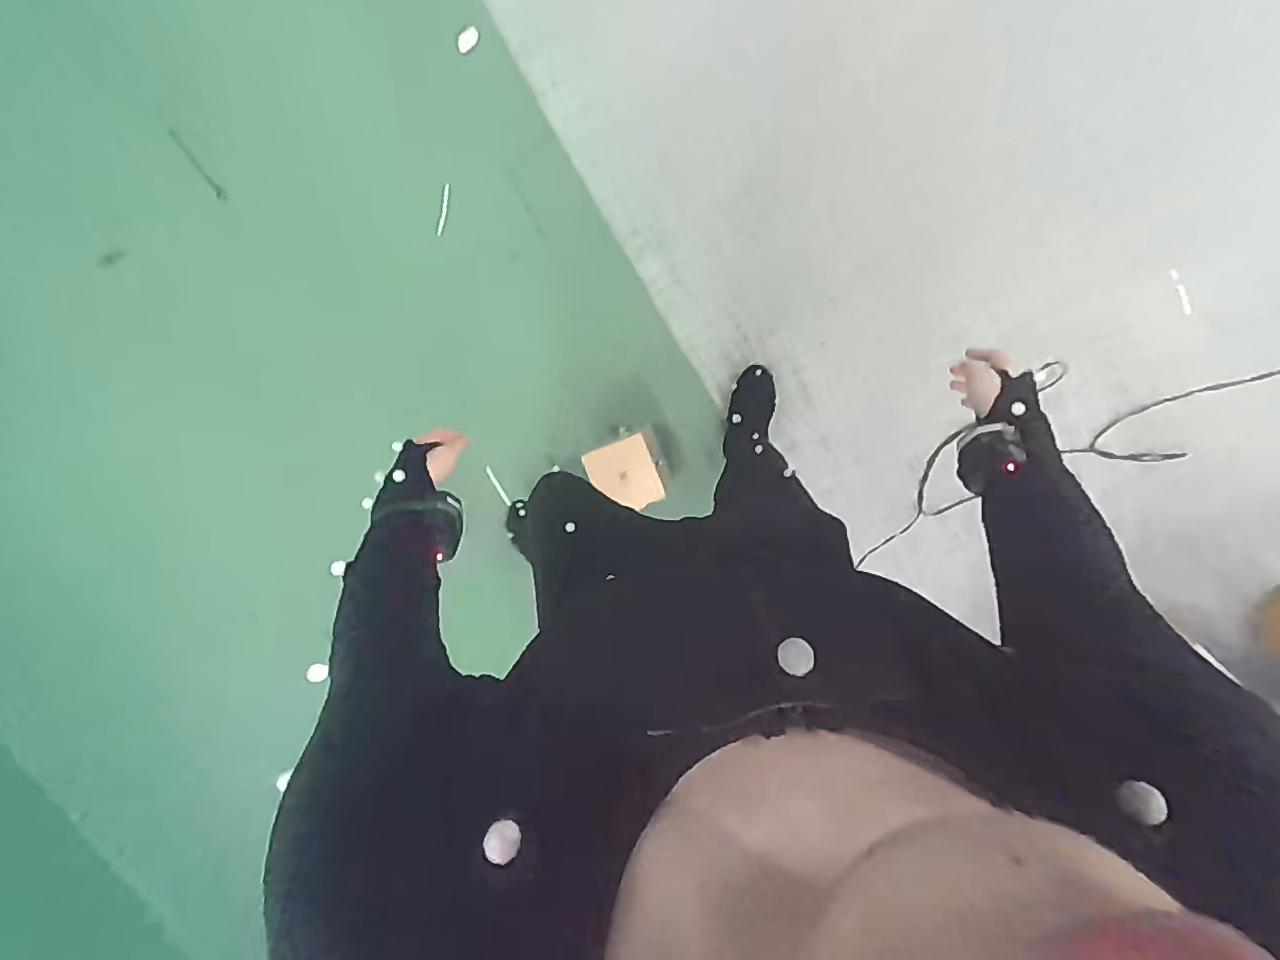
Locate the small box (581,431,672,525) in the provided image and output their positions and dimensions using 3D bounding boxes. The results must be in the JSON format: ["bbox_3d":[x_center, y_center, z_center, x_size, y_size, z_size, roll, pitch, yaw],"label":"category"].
[{"bbox_3d":[-0.026,-0.010,1.386,0.168,0.176,0.179,-21,99,12],"label":"small box"}]
